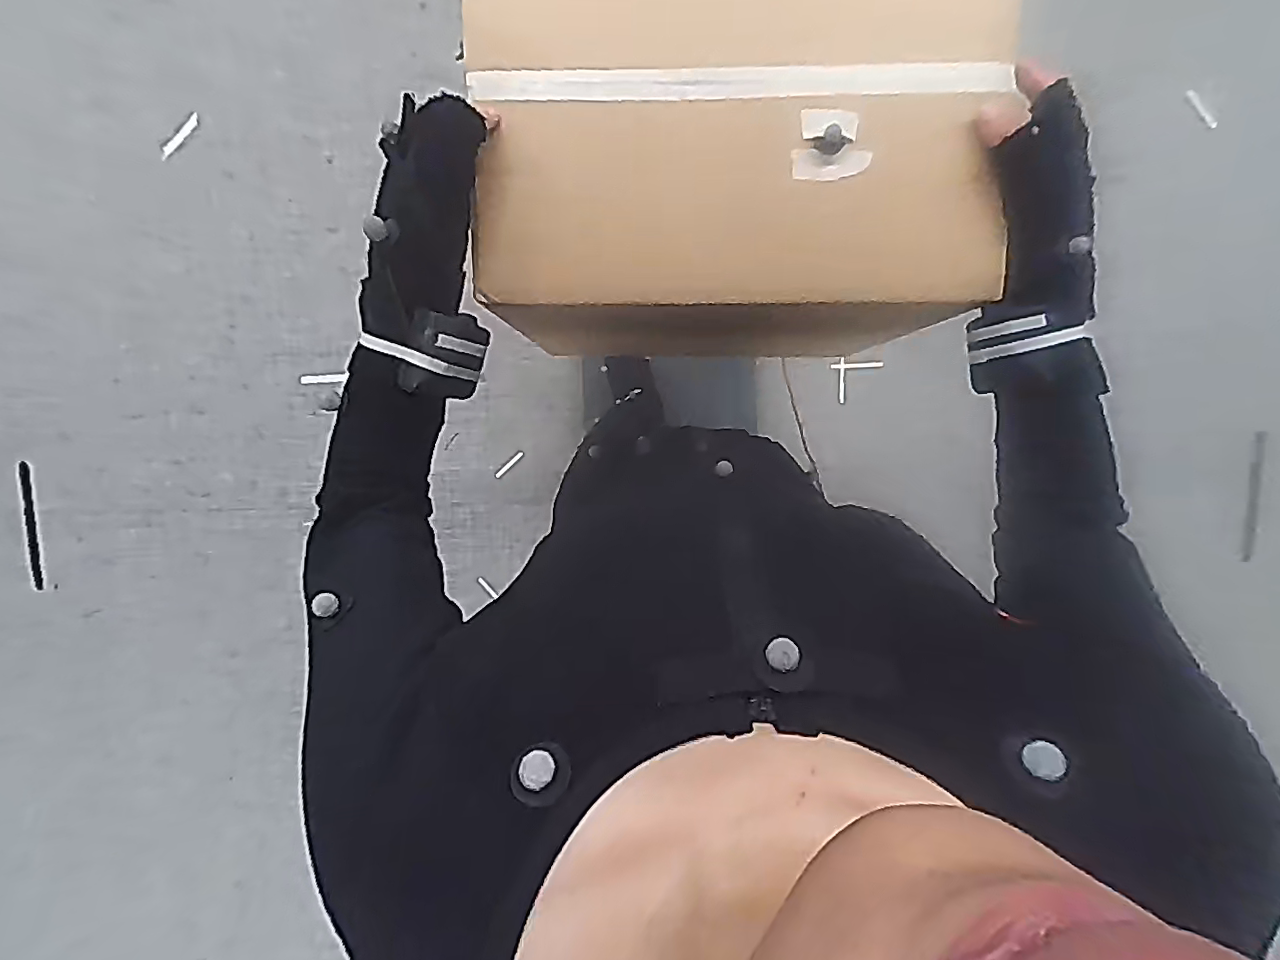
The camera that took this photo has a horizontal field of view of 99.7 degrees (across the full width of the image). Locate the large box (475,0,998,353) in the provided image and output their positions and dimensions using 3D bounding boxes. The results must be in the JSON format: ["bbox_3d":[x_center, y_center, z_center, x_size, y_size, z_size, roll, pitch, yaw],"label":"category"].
[{"bbox_3d":[0.072,-0.316,0.565,0.408,0.320,0.320,0,95,0],"label":"large box"}]
